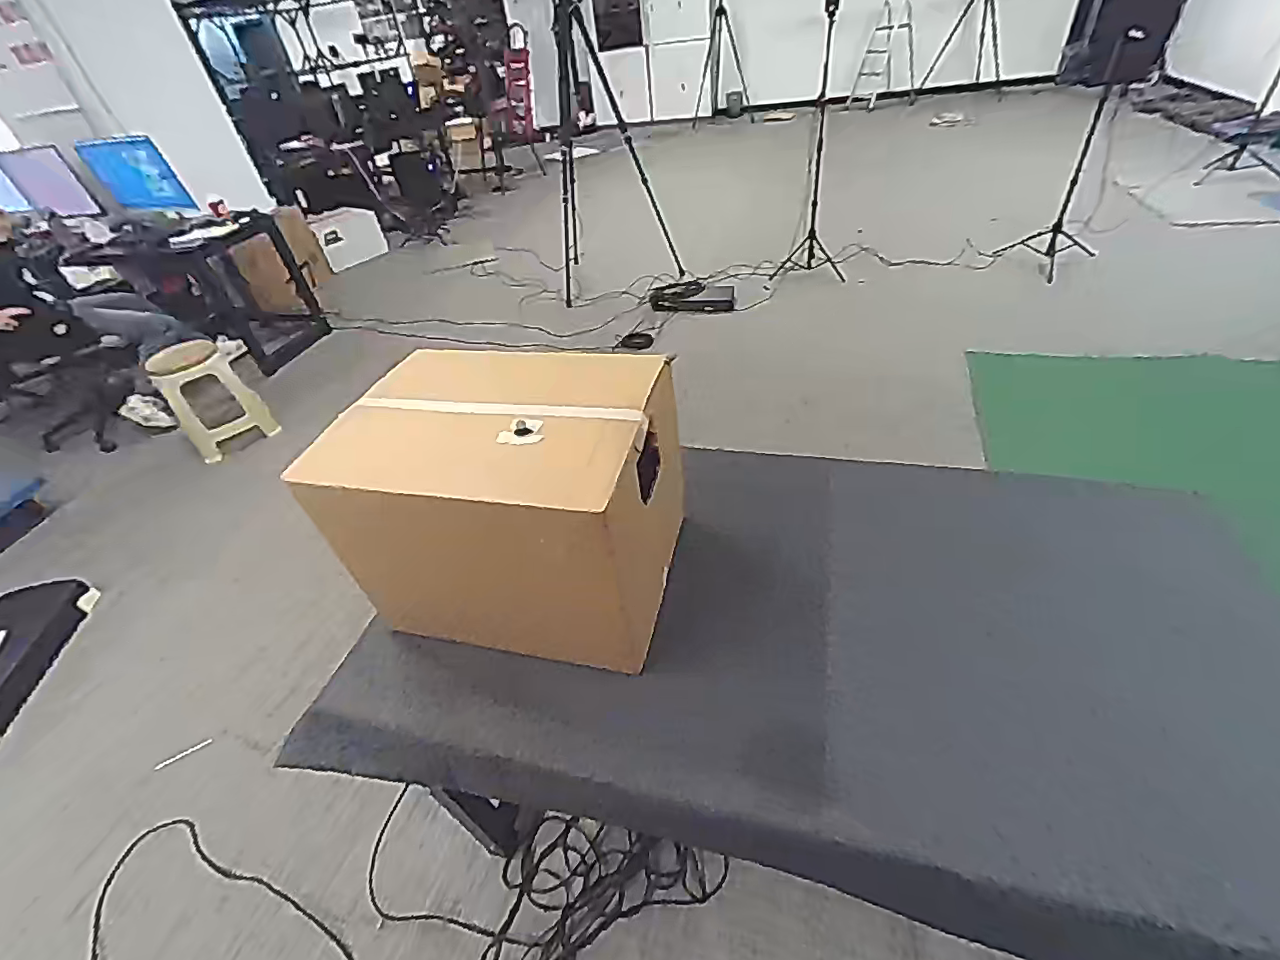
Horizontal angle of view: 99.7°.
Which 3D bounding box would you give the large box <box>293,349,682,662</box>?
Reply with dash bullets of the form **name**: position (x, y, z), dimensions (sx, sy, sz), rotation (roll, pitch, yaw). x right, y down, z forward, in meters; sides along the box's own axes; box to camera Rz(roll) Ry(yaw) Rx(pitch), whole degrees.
- **large box**: position (-0.166, 0.024, 0.784), dimensions (0.408, 0.320, 0.320), rotation (6, 43, 14)
